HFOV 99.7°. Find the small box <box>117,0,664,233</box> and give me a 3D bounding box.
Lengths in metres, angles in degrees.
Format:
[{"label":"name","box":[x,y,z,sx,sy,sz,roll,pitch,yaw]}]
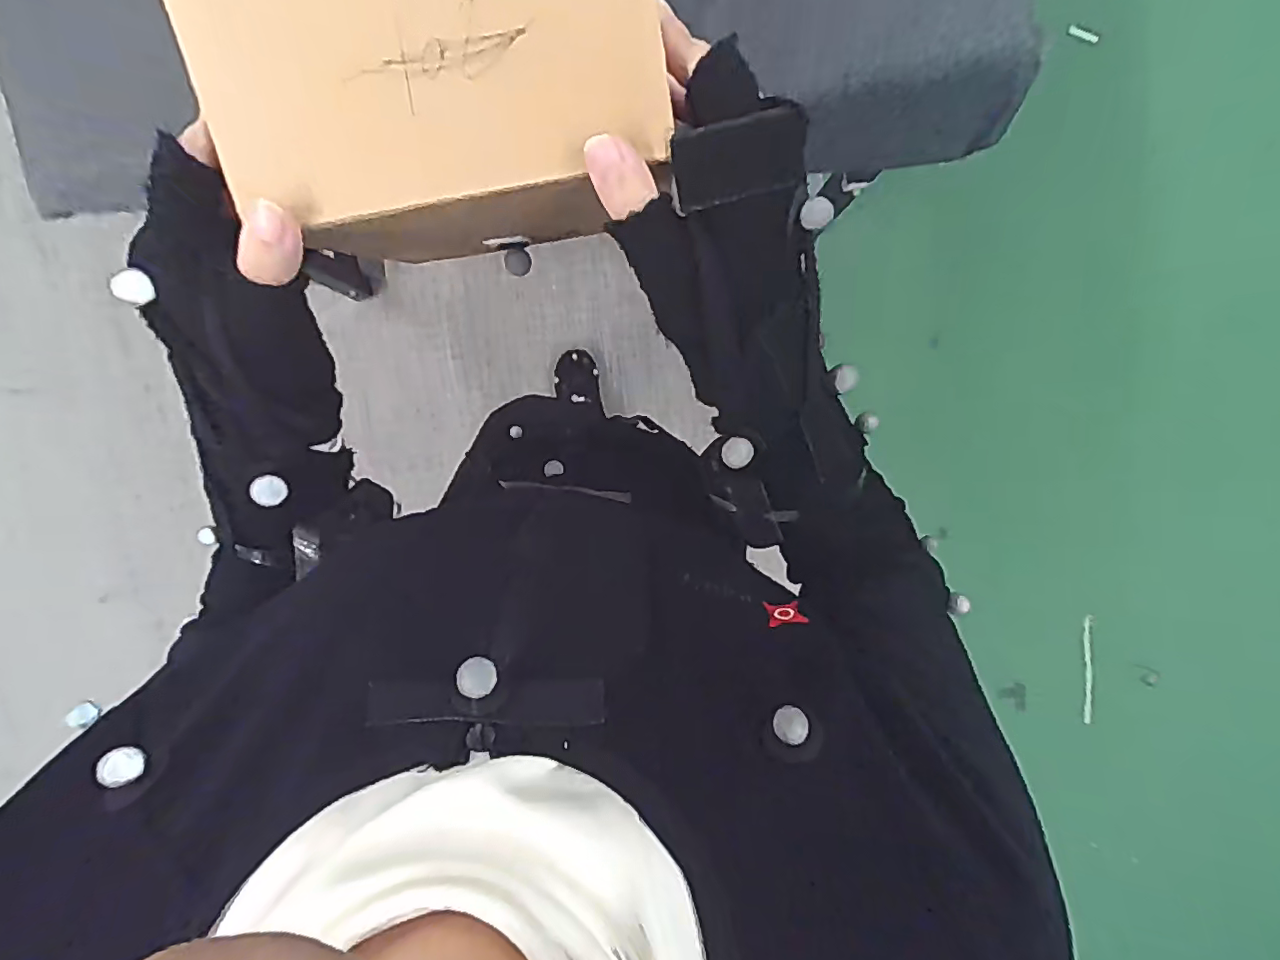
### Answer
[{"label":"small box","box":[-0.084,-0.219,0.228,0.168,0.176,0.179,-8,108,4]}]
